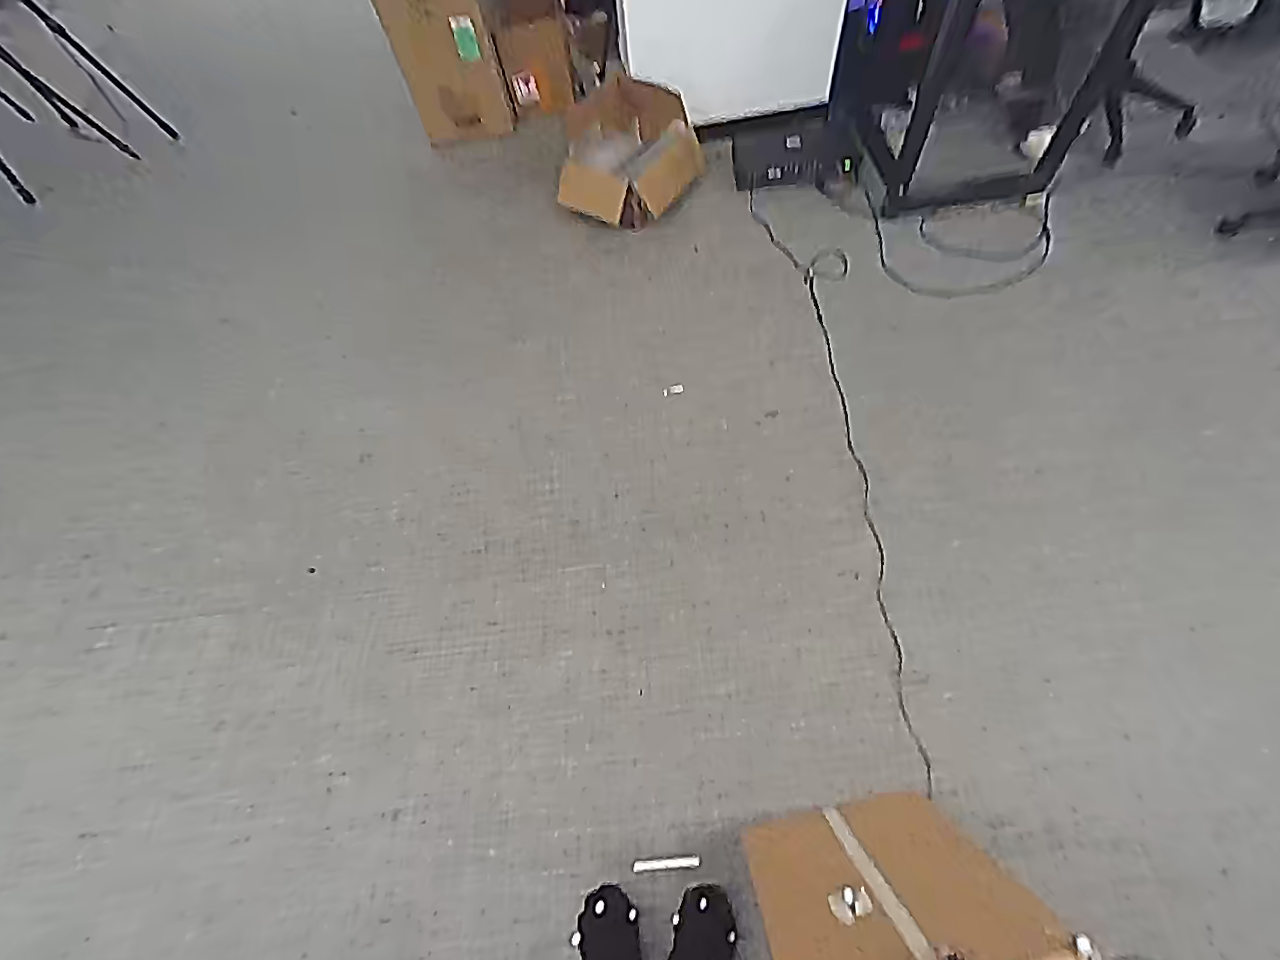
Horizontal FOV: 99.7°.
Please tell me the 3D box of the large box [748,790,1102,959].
[{"bbox_3d":[0.359,0.685,0.718,0.320,0.408,0.320,-15,81,1],"label":"large box"}]
